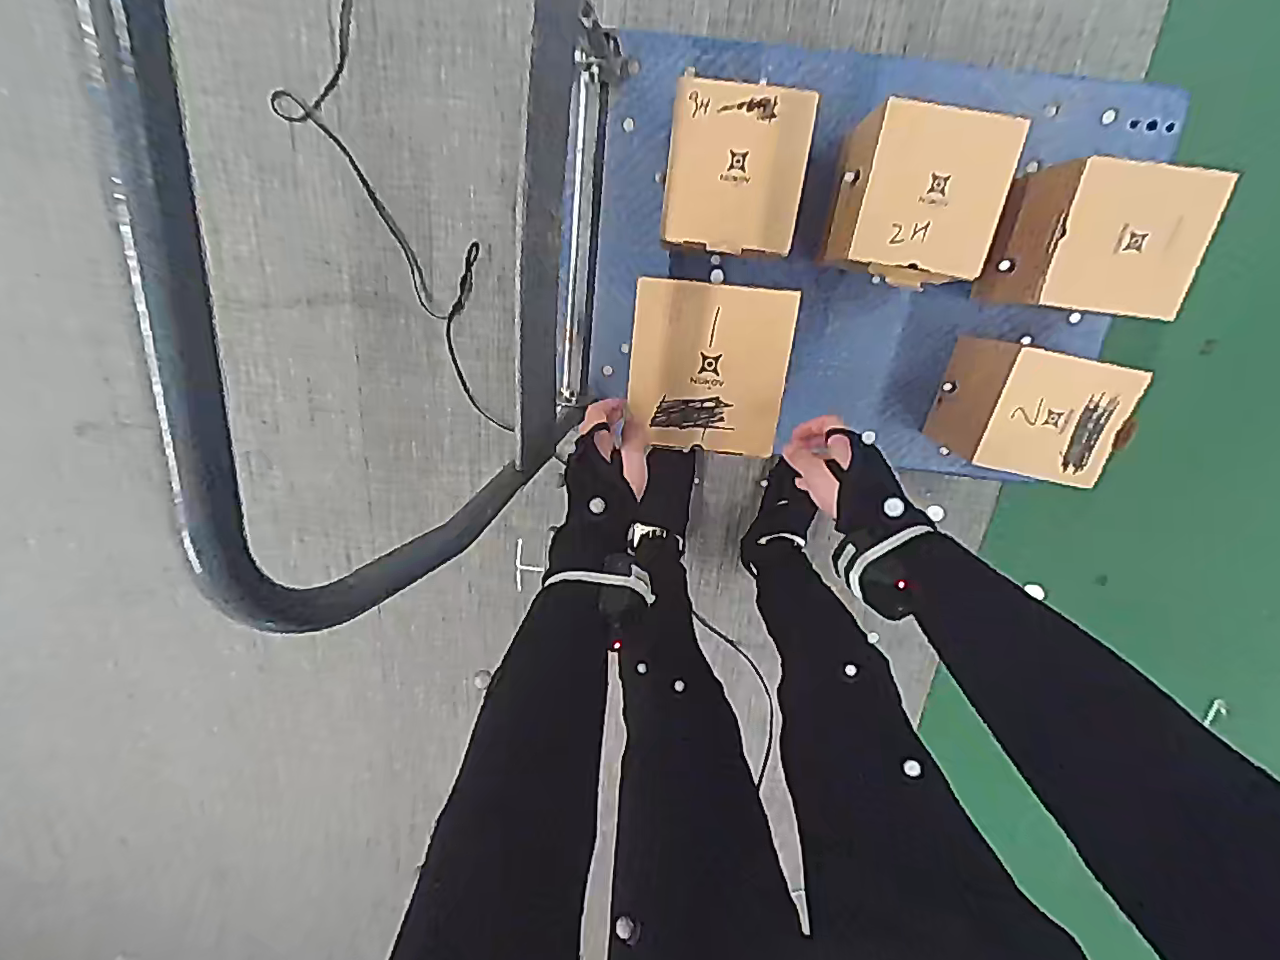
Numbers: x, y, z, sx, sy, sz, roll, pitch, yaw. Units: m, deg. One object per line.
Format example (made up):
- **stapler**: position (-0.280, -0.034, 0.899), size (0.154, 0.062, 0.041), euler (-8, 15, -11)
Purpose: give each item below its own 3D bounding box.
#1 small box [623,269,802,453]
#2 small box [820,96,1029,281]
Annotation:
- **small box**: position (0.076, -0.146, 0.642), size (0.168, 0.176, 0.179), euler (7, 109, 0)
- **small box**: position (0.356, -0.370, 0.720), size (0.168, 0.176, 0.179), euler (11, 110, 1)
